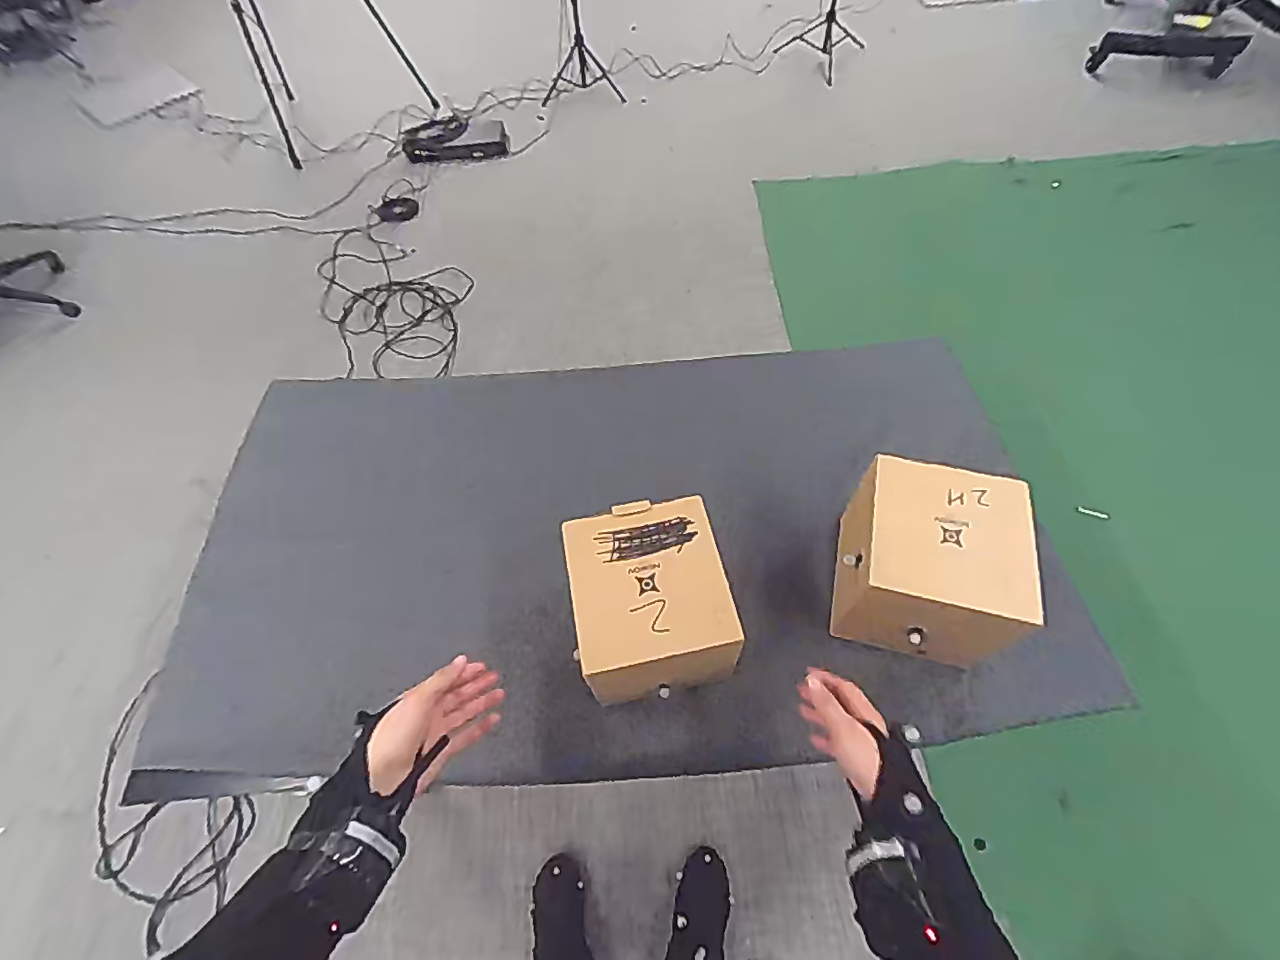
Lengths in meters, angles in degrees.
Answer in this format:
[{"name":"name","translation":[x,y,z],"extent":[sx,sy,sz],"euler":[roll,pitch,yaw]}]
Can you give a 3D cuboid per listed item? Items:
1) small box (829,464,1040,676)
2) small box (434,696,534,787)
[{"name":"small box","translation":[0.332,0.112,0.639],"extent":[0.168,0.176,0.179],"euler":[13,58,11]},{"name":"small box","translation":[-0.348,0.602,1.239],"extent":[0.168,0.176,0.179],"euler":[-2,58,3]}]
